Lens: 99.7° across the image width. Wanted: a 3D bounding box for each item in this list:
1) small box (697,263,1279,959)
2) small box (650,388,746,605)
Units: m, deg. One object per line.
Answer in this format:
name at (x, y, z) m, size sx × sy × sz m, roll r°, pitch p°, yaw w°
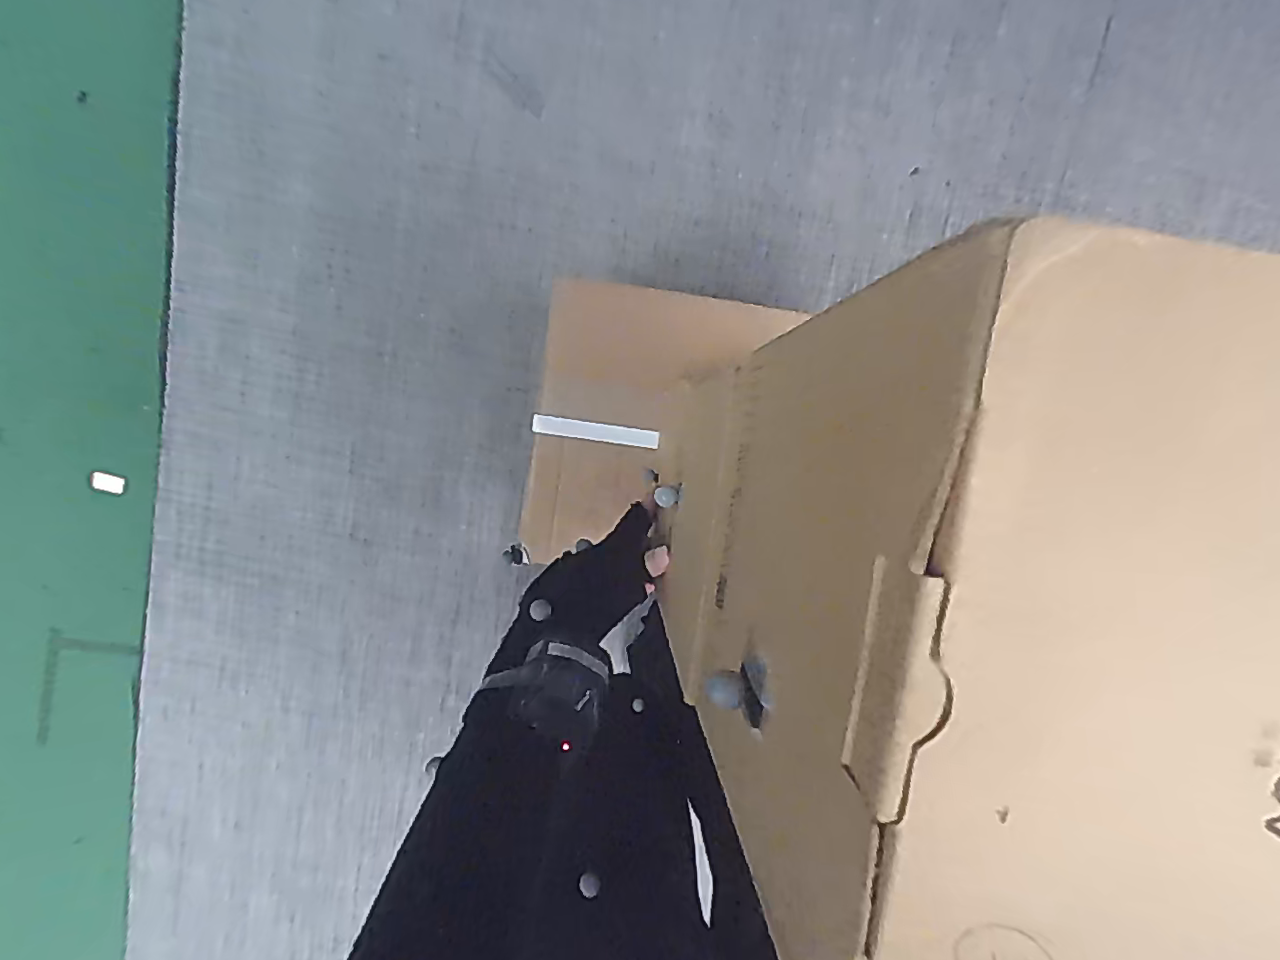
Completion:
small box at (0.123, 0.046, 0.182) m, size 0.179 × 0.176 × 0.168 m, roll 7°, pitch 96°, yaw -4°
small box at (0.101, 0.016, 0.505) m, size 0.168 × 0.176 × 0.179 m, roll 7°, pitch 96°, yaw -2°
